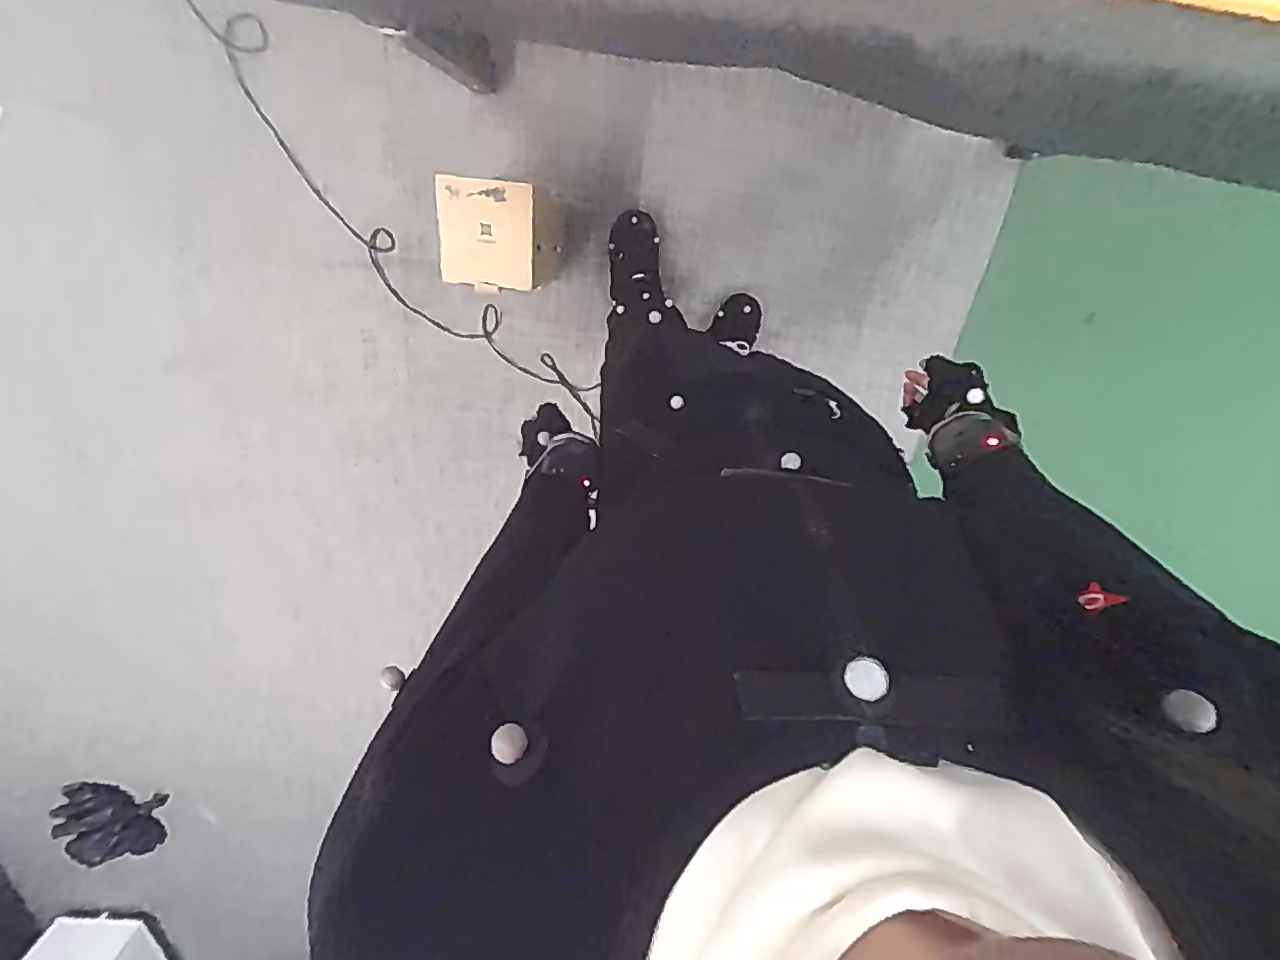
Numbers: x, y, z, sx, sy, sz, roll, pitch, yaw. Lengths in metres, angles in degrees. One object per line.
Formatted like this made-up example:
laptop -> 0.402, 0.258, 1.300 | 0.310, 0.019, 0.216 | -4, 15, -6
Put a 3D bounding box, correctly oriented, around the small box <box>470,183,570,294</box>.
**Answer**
small box -> -0.253, -0.521, 1.167 | 0.168, 0.176, 0.179 | 14, 116, -4
